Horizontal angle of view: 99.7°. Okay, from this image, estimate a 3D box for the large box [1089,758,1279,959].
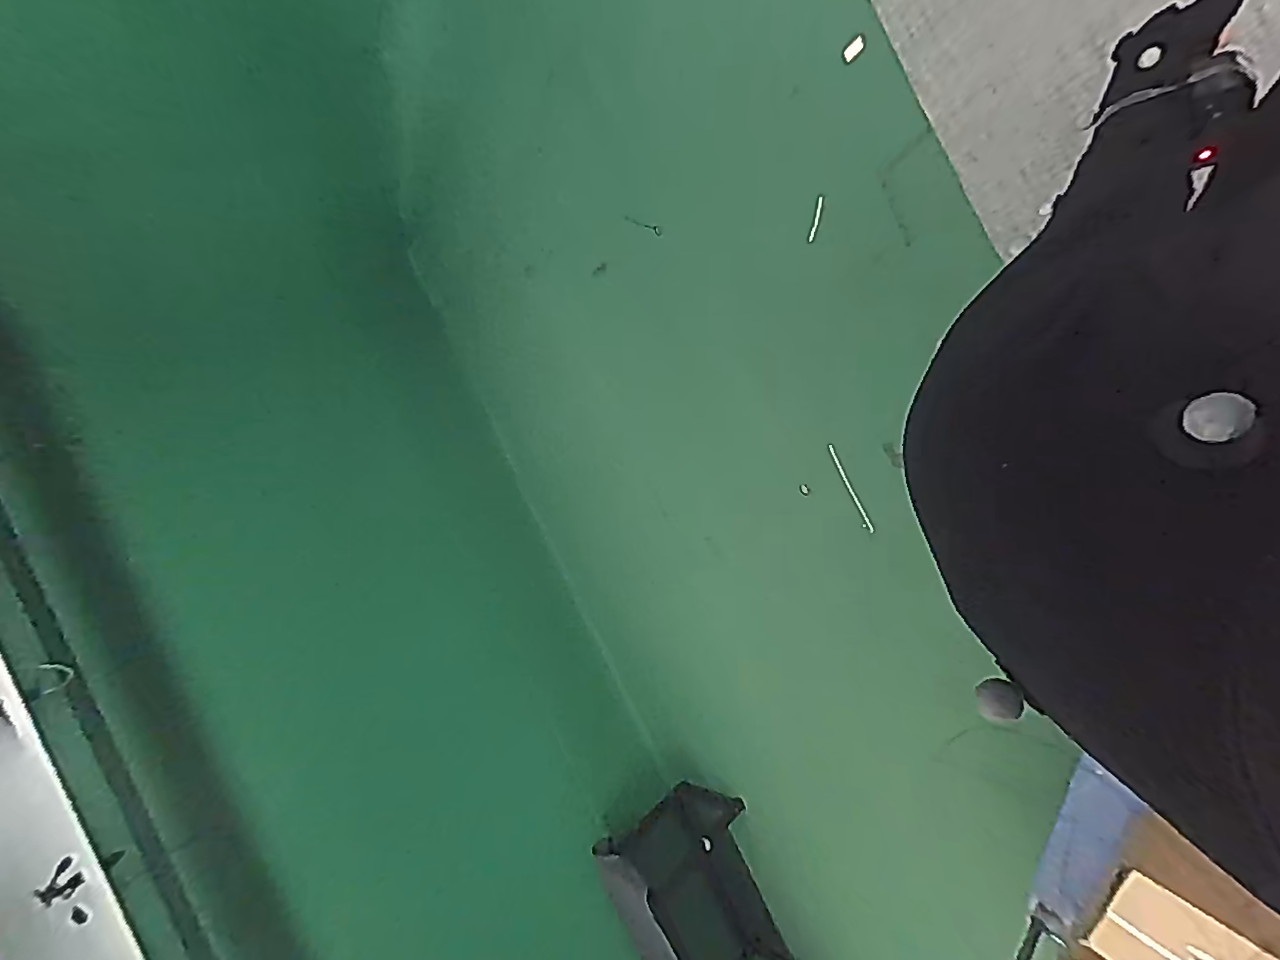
[{"bbox_3d":[1.203,0.851,1.046,0.408,0.320,0.320,26,133,43],"label":"large box"}]
